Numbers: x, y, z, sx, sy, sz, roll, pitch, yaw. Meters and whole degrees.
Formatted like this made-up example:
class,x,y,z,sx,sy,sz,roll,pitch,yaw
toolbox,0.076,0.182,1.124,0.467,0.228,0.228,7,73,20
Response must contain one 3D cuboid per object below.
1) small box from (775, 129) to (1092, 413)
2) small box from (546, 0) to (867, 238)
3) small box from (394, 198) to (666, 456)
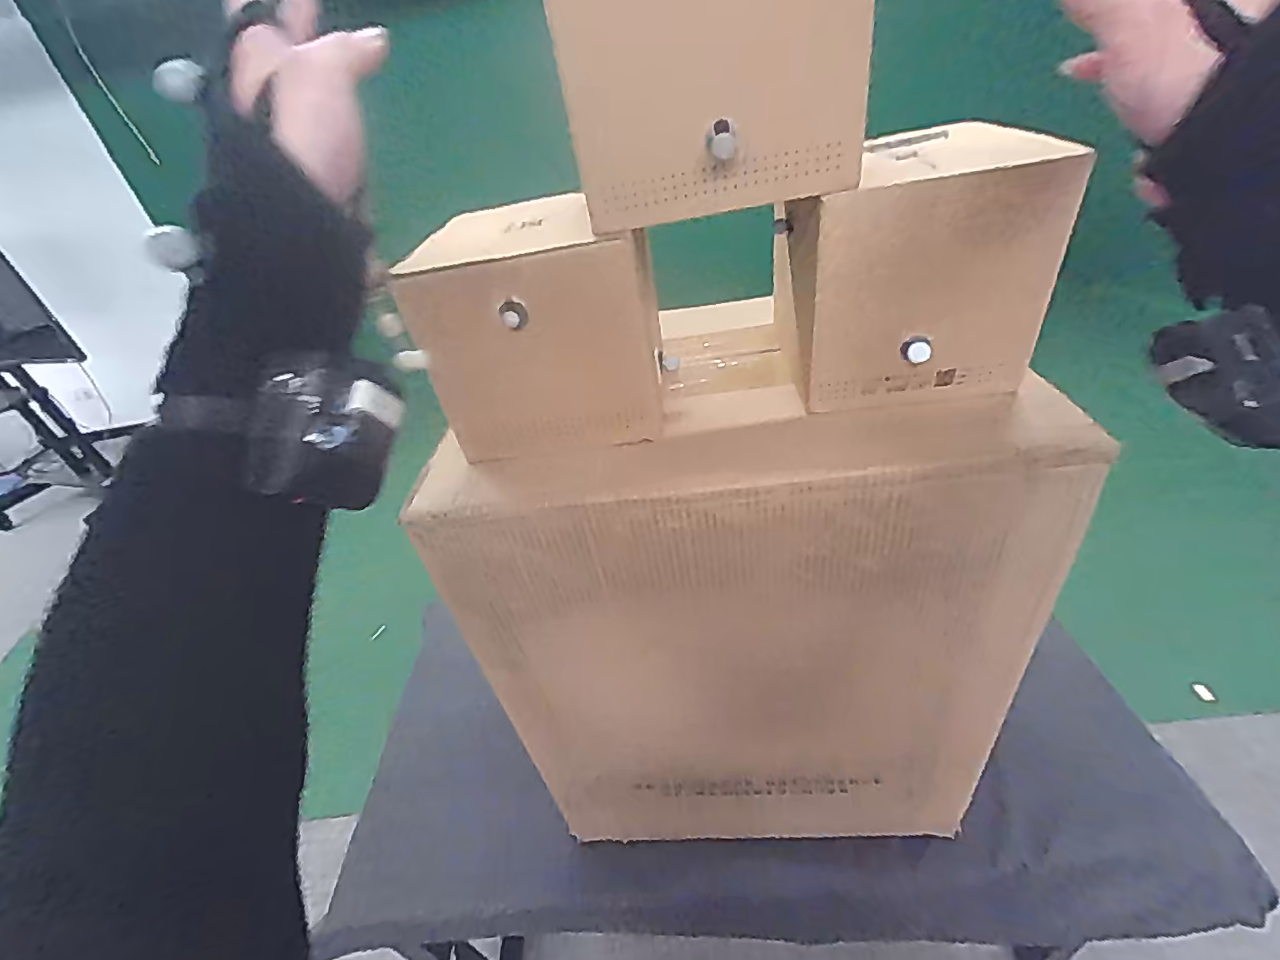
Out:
class,x,y,z,sx,sy,sz,roll,pitch,yaw
small box,0.210,-0.176,0.454,0.168,0.176,0.179,-6,39,6
small box,0.040,-0.281,0.364,0.179,0.176,0.168,-8,39,4
small box,-0.073,-0.134,0.476,0.179,0.176,0.168,-5,40,6
